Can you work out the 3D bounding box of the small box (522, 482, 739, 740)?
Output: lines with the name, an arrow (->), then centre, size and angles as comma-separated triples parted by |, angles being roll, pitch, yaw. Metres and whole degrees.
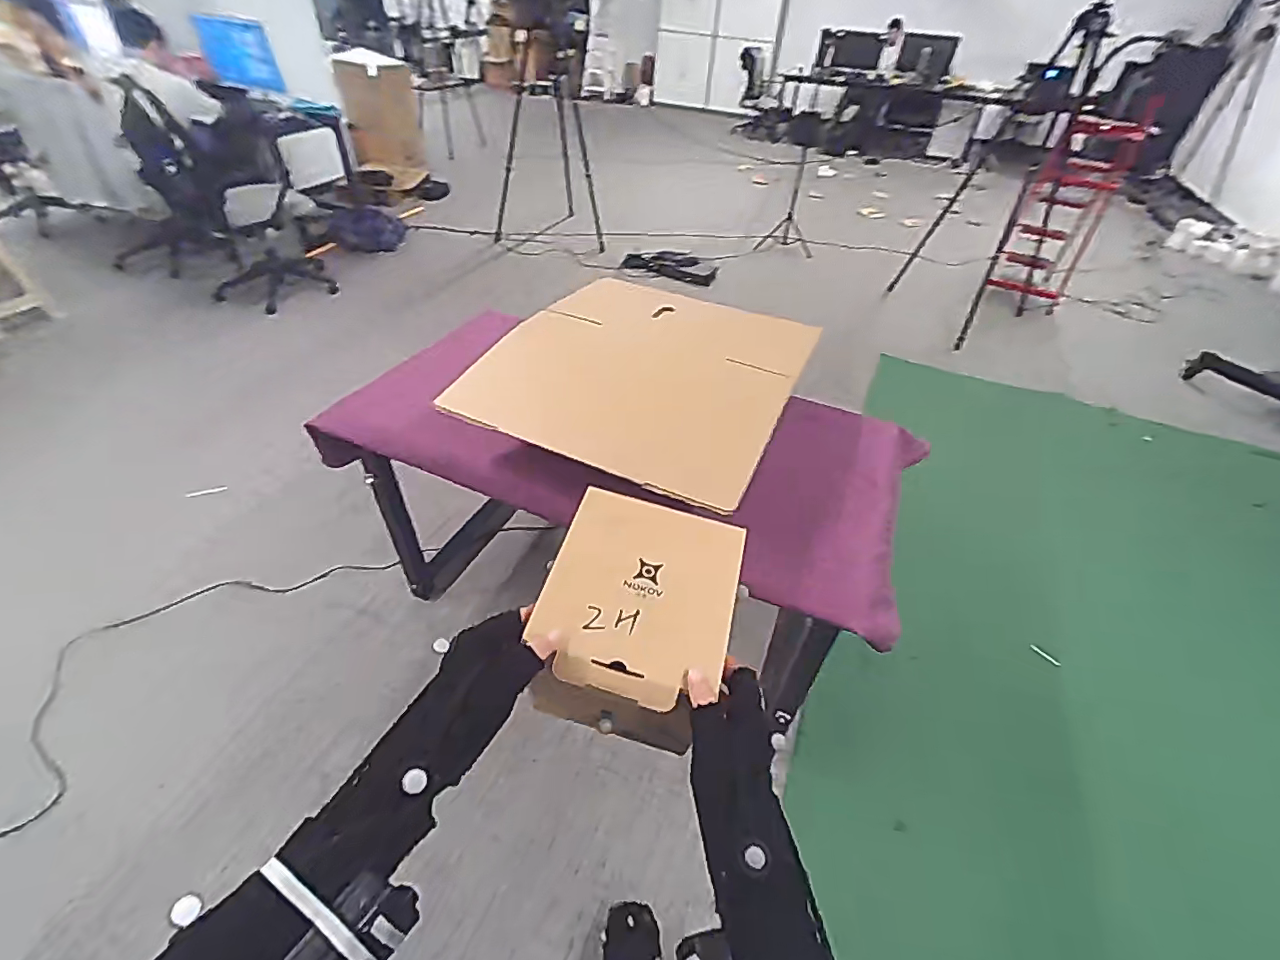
small box -> -0.009, 0.136, 0.554 | 0.168, 0.176, 0.179 | 15, 50, 6
